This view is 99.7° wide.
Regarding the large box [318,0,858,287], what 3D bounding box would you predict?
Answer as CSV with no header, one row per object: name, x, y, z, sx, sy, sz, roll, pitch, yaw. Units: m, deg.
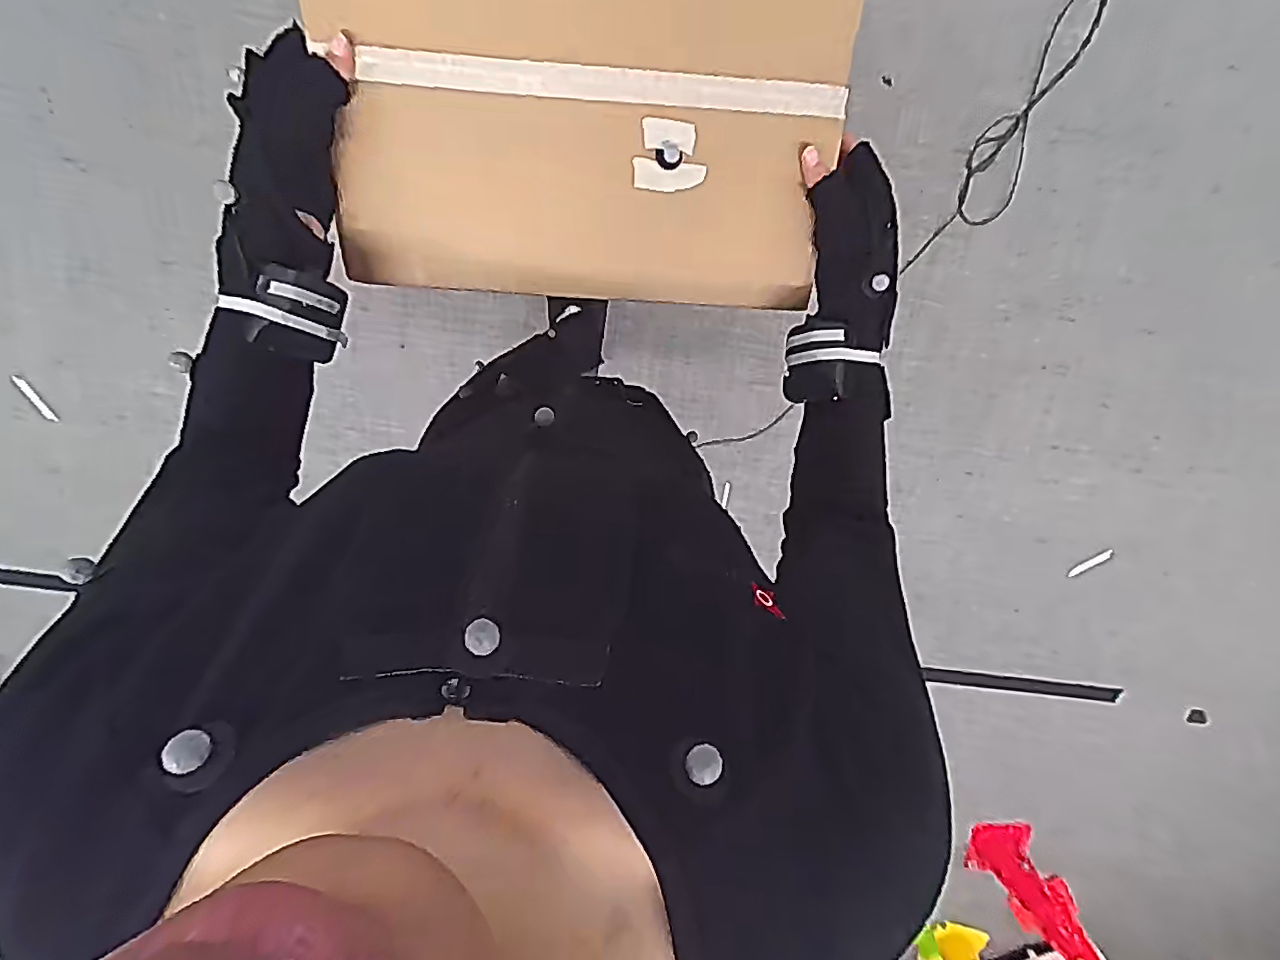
large box,-0.046,-0.379,0.549,0.408,0.320,0.320,1,116,-4
